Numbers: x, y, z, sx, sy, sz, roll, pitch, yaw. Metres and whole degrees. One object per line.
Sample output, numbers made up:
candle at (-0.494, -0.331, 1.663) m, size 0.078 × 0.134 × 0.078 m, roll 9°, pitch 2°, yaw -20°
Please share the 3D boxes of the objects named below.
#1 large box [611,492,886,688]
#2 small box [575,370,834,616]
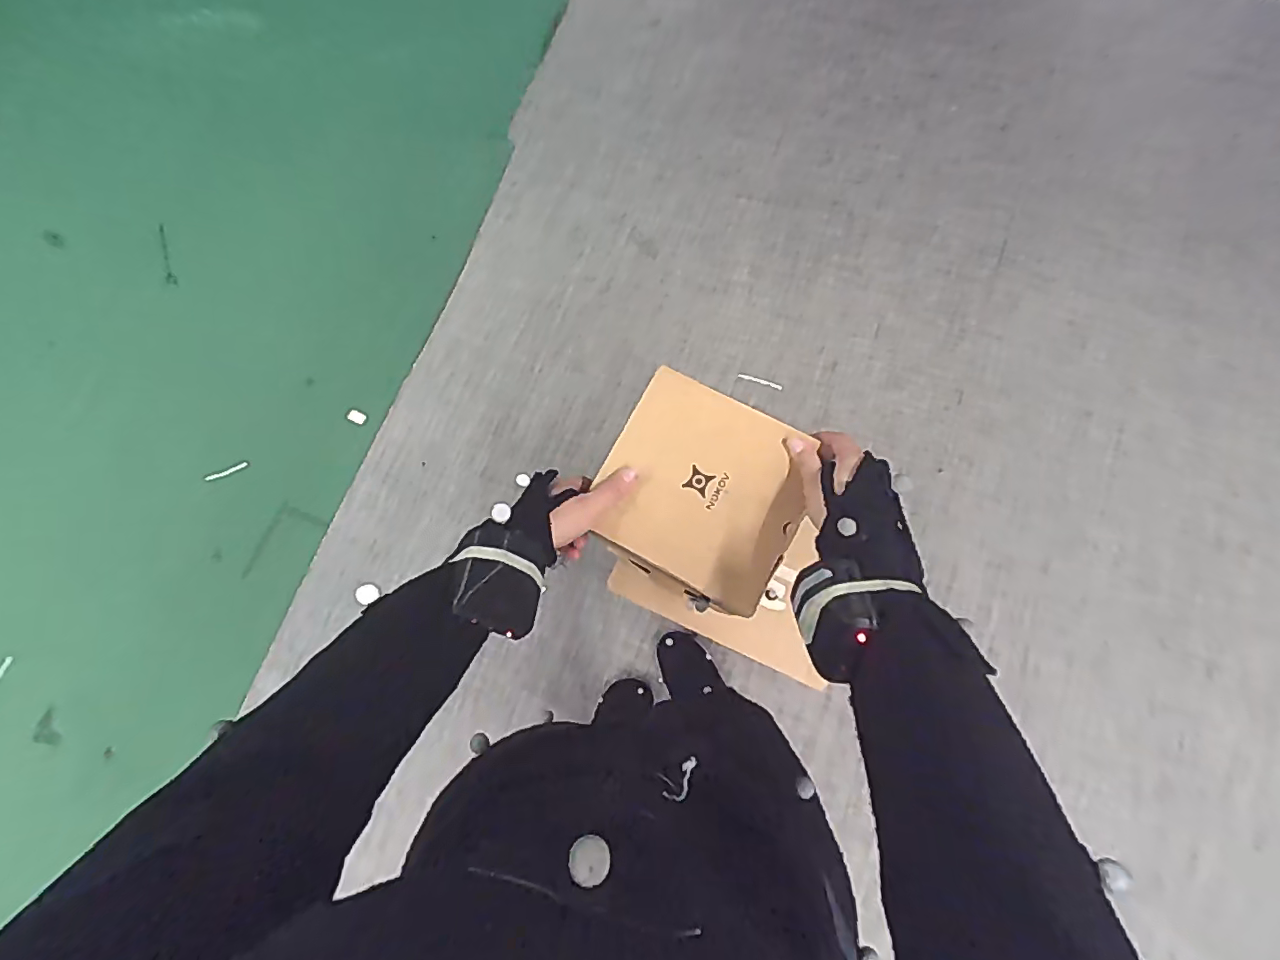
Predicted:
large box at (0.197, 0.166, 1.085) m, size 0.408 × 0.320 × 0.320 m, roll 23°, pitch 81°, yaw 9°
small box at (0.060, 0.024, 0.547) m, size 0.179 × 0.176 × 0.168 m, roll 28°, pitch 81°, yaw 9°
